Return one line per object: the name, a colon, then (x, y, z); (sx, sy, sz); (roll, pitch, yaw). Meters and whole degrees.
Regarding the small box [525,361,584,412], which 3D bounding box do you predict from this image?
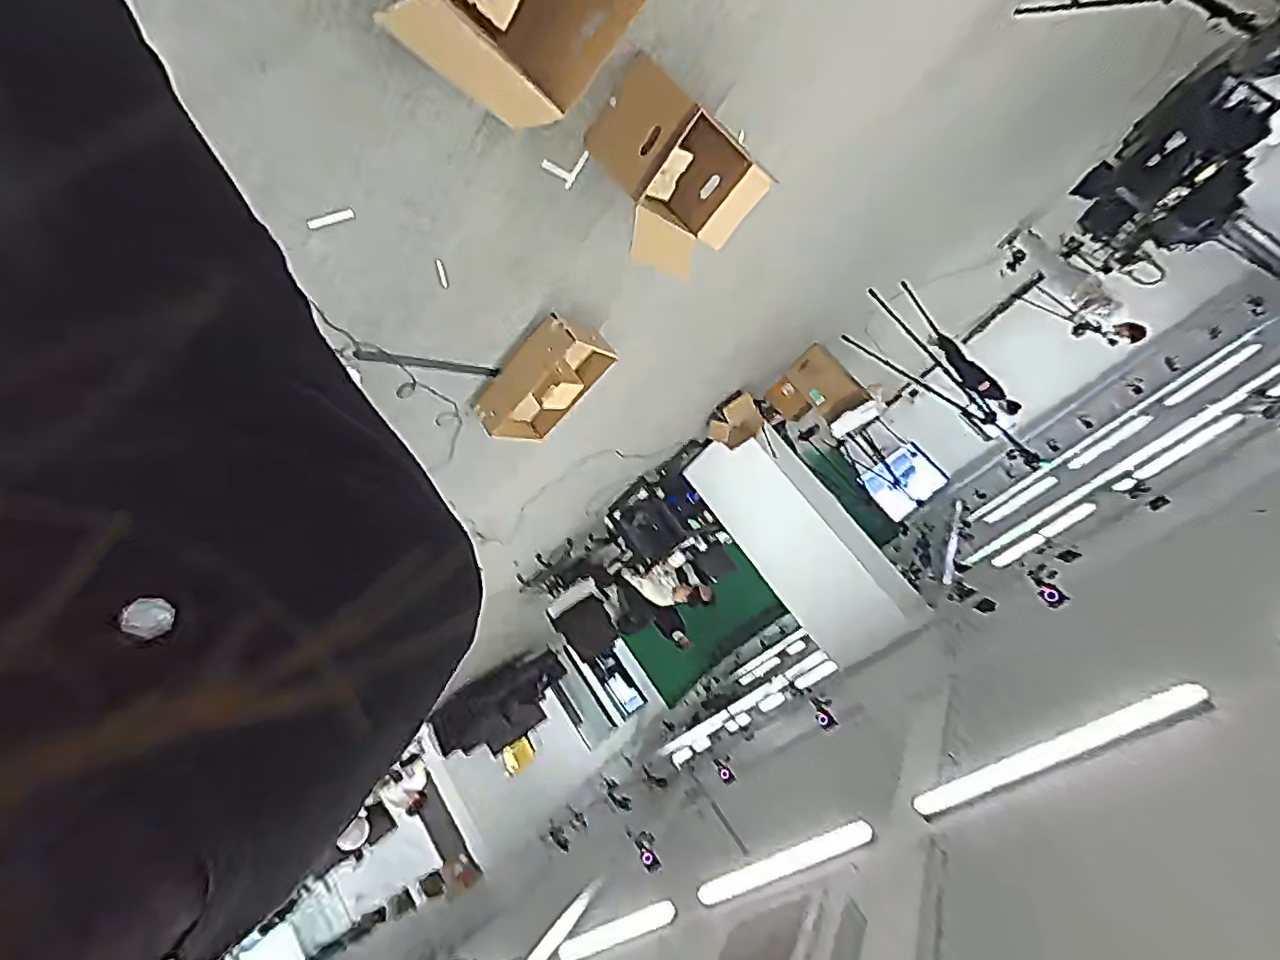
small box: (-0.401, -0.434, 2.513); (0.168, 0.176, 0.179); (-44, 163, 26)
